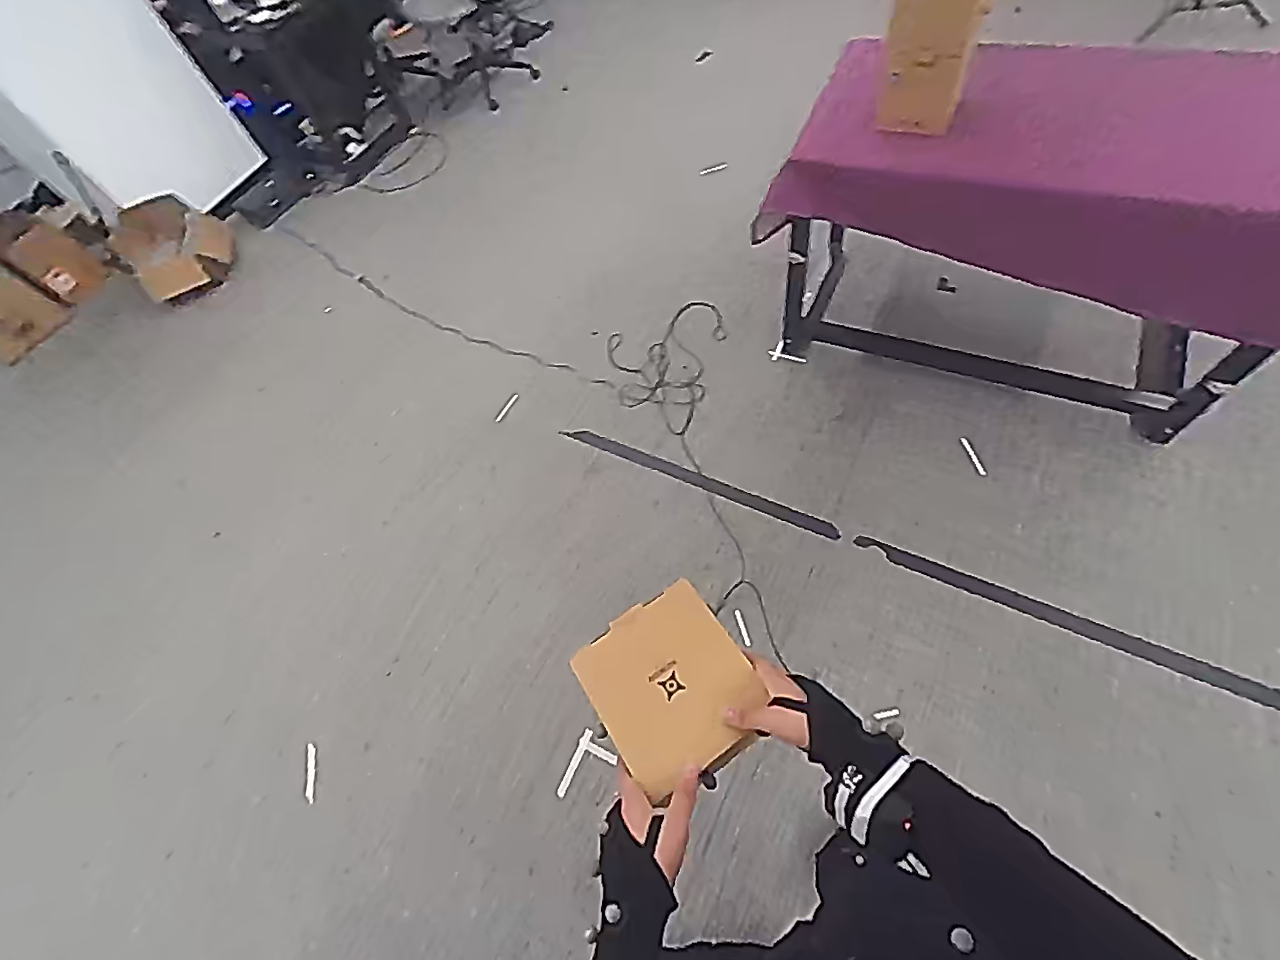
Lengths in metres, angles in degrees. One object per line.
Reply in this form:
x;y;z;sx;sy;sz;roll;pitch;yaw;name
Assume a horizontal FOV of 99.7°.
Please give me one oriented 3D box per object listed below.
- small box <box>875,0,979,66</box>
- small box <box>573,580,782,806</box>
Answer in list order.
0.646;-1.056;1.201;0.179;0.176;0.168;23;67;22;small box
0.049;0.257;0.649;0.168;0.176;0.179;-33;58;-10;small box
